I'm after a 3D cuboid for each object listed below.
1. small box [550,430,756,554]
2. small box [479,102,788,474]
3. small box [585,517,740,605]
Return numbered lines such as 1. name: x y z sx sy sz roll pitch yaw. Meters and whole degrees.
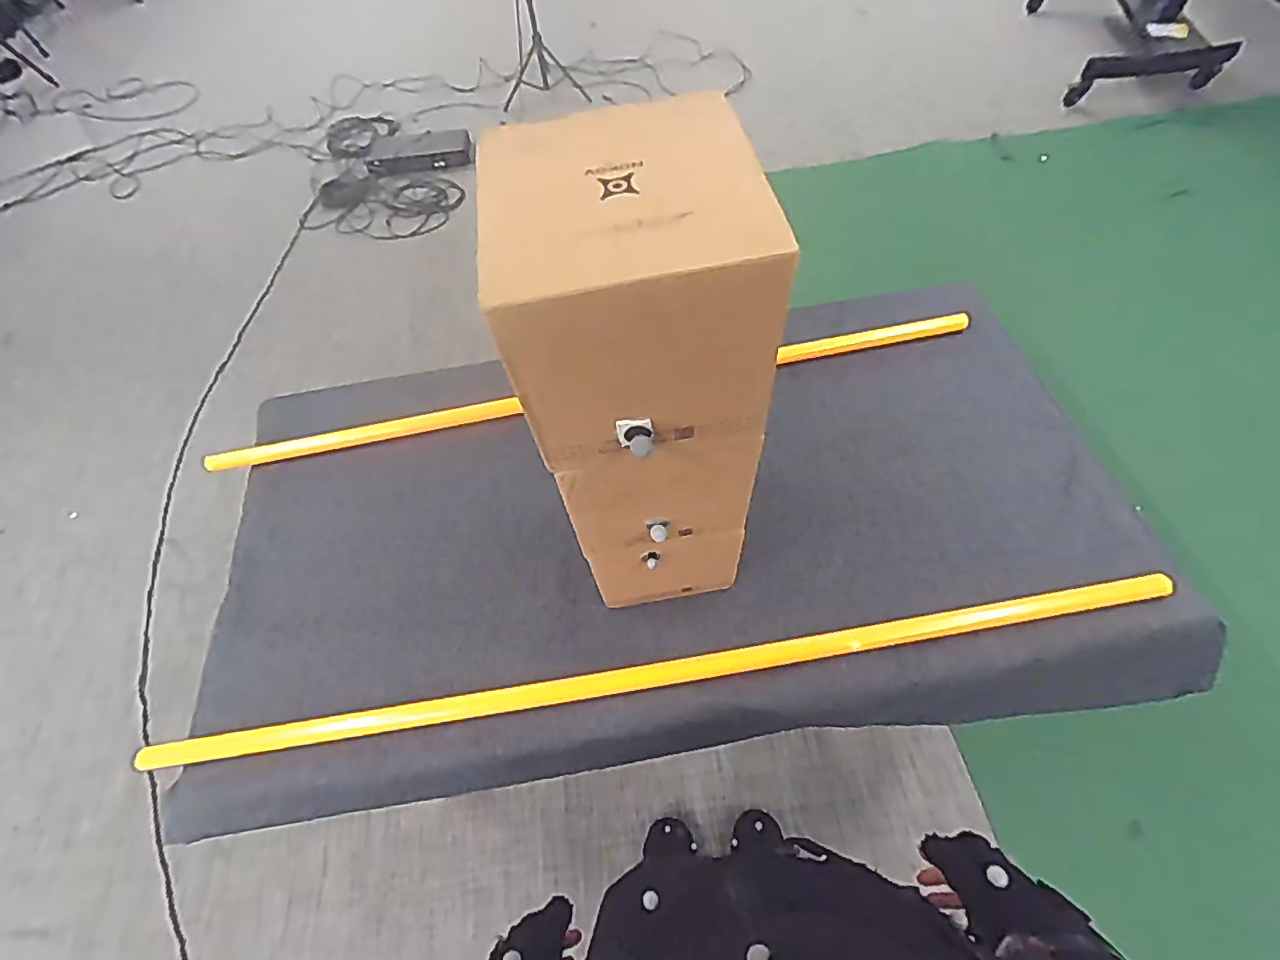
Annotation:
1. small box: 0.004 -0.049 0.532 0.168 0.176 0.179 -10 59 -1
2. small box: -0.009 -0.130 0.392 0.168 0.176 0.179 -11 60 0
3. small box: 0.018 0.035 0.672 0.168 0.176 0.179 -10 58 0
